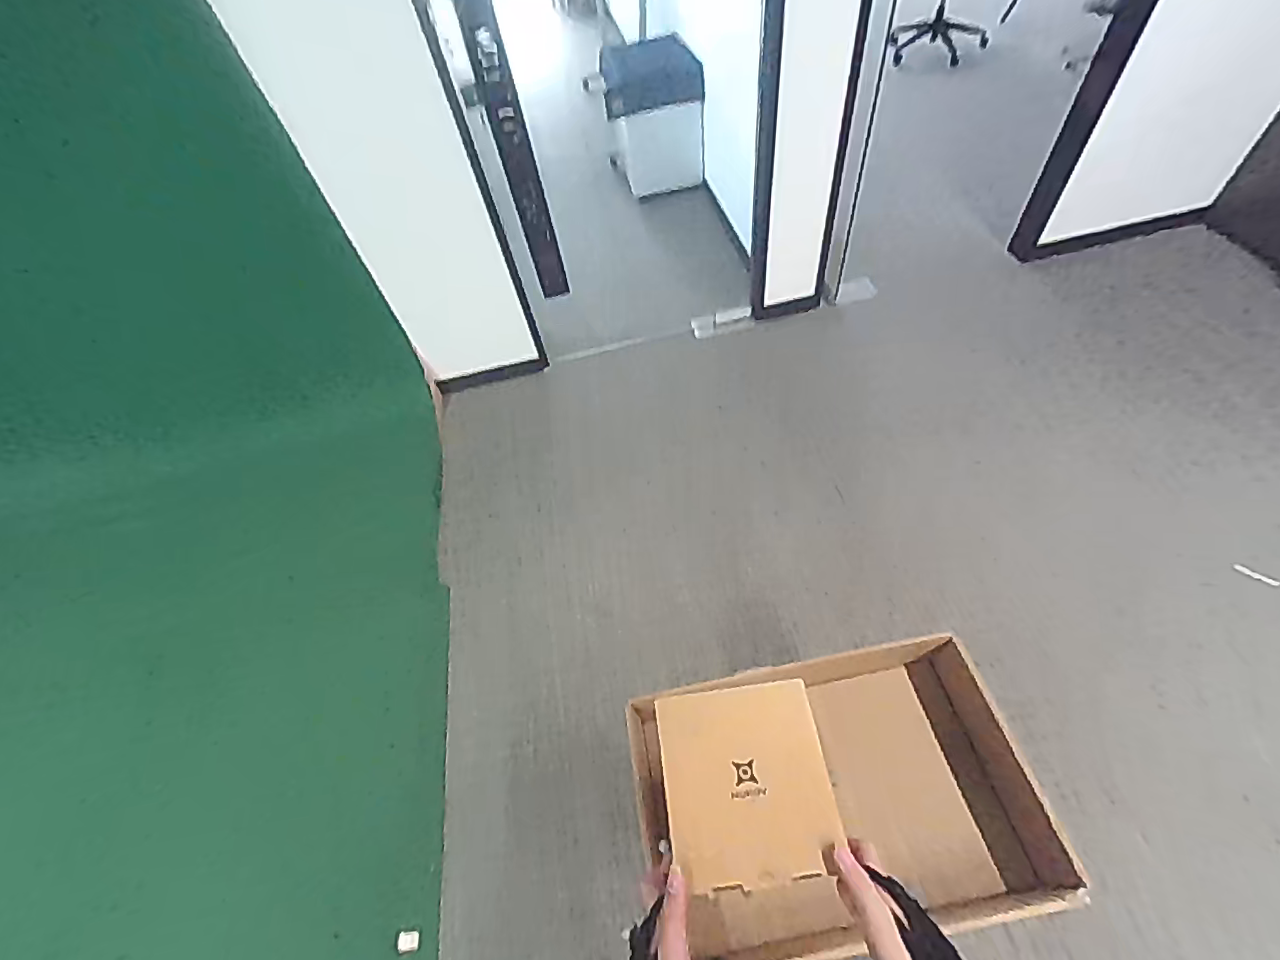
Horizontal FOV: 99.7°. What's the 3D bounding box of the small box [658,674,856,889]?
[{"bbox_3d":[0.113,0.335,0.602,0.168,0.176,0.179,-9,56,0],"label":"small box"}]
